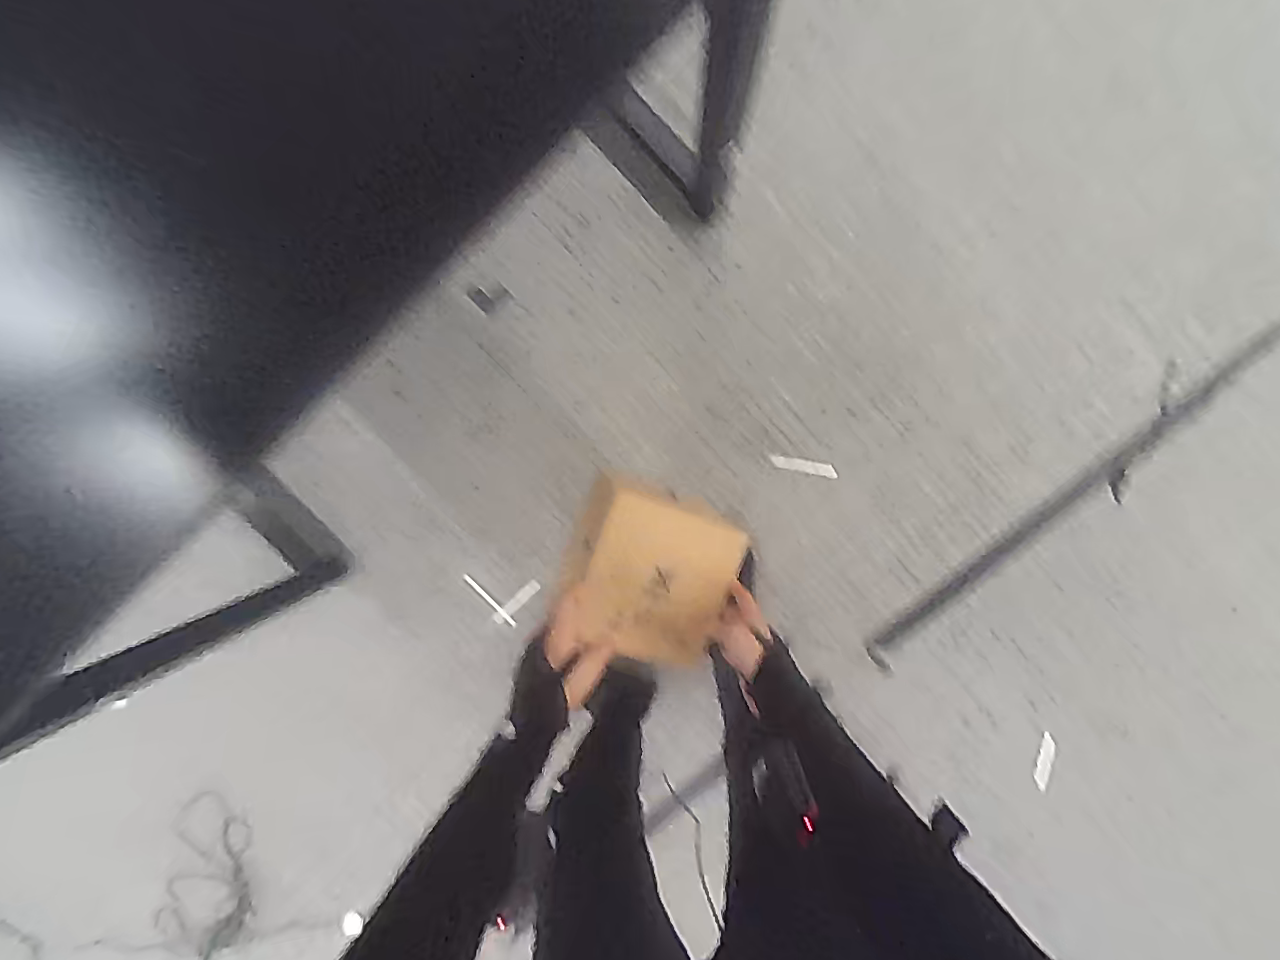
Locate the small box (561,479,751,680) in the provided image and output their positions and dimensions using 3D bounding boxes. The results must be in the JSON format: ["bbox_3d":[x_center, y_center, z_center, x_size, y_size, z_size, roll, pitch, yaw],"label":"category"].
[{"bbox_3d":[0.006,0.112,0.674,0.168,0.176,0.179,20,96,-14],"label":"small box"}]
